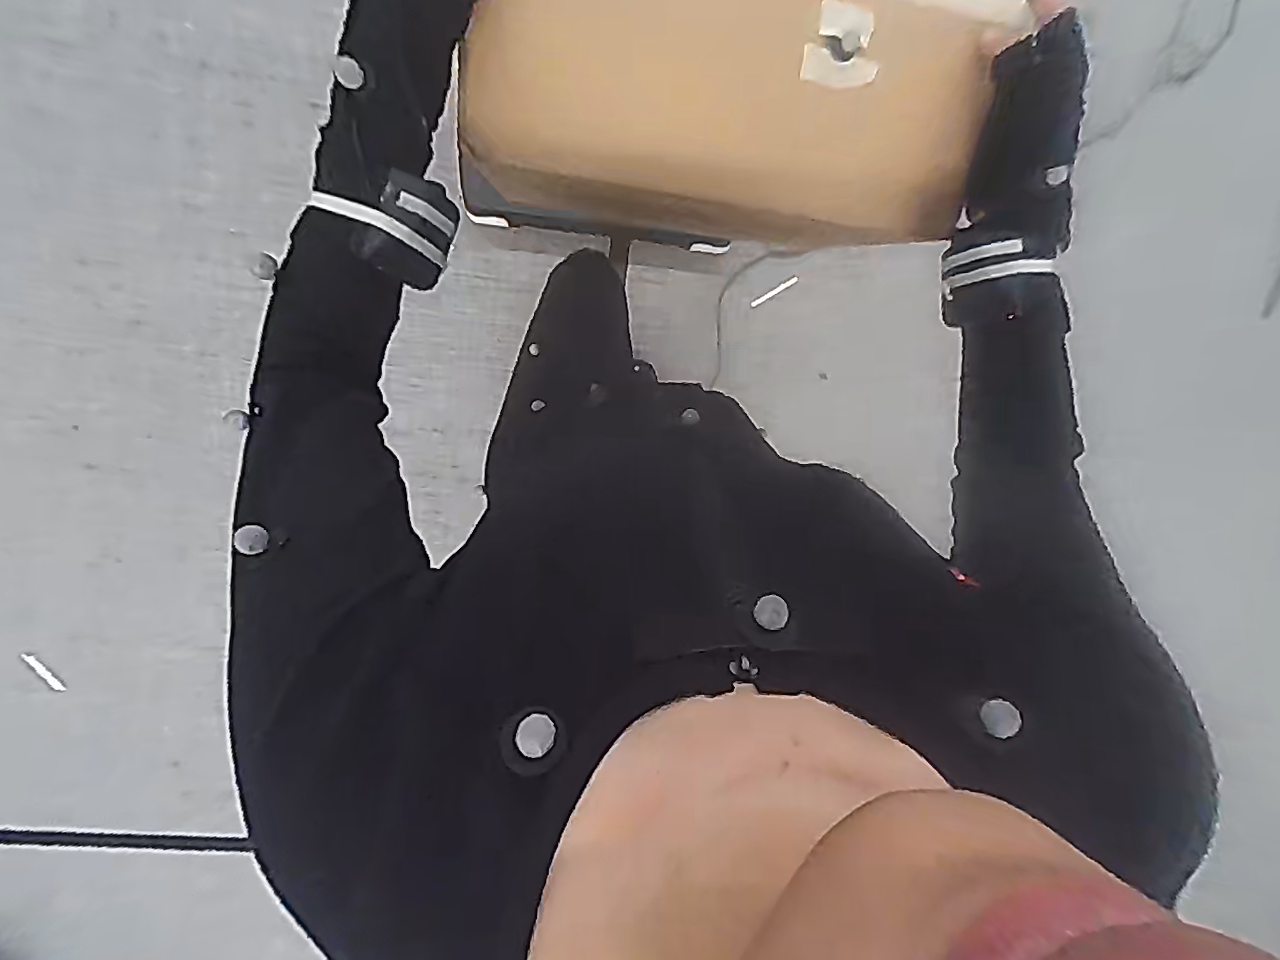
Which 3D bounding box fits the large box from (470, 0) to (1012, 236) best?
[{"bbox_3d":[0.065,-0.430,0.512,0.408,0.320,0.320,4,112,-10],"label":"large box"}]
